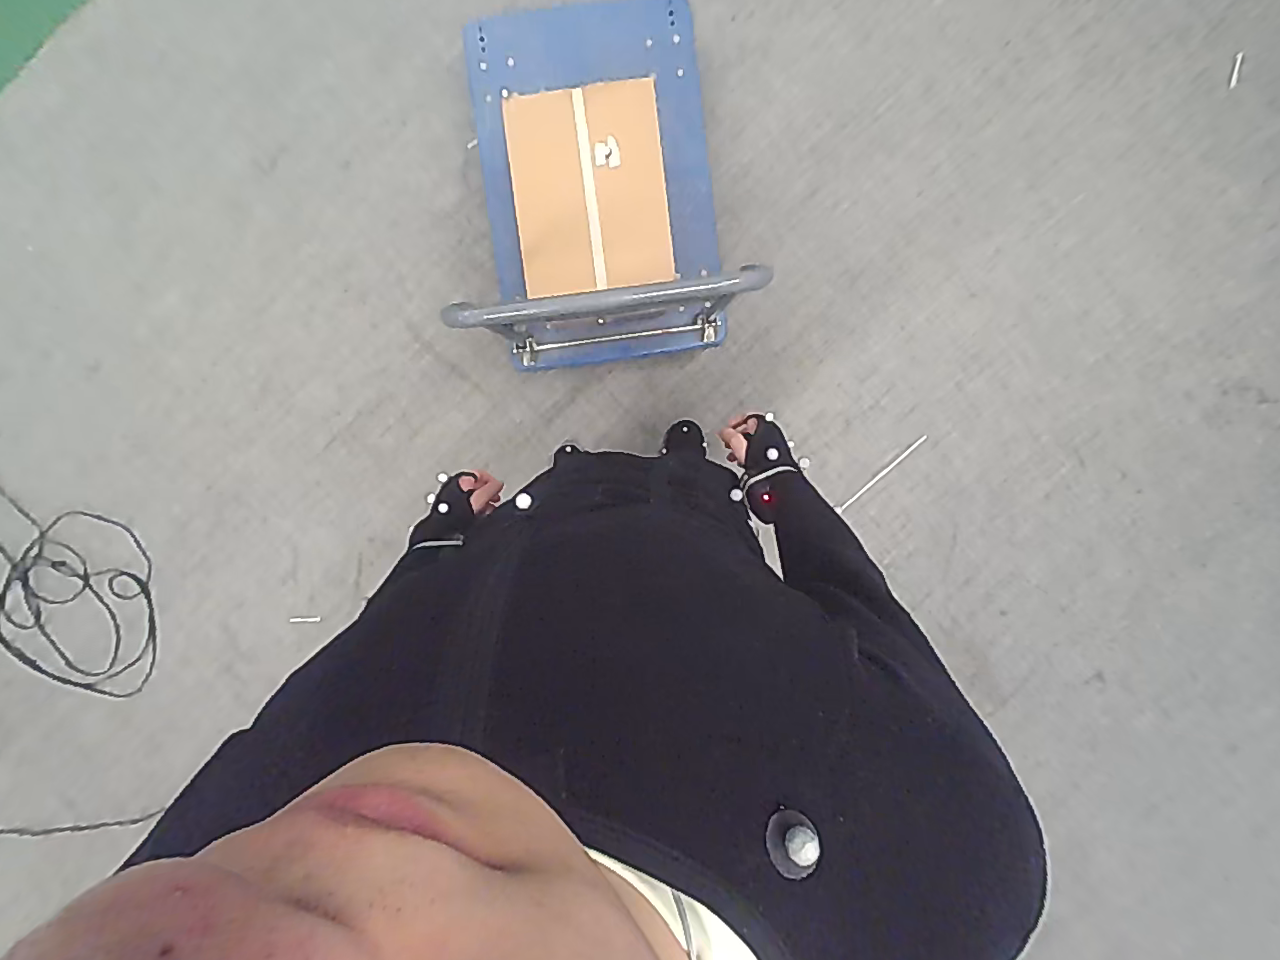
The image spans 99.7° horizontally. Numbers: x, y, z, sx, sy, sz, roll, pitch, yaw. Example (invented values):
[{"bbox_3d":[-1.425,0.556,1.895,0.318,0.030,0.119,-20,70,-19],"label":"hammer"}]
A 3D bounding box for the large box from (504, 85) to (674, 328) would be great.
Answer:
[{"bbox_3d":[-0.101,-0.606,1.271,0.320,0.320,0.408,-6,94,1],"label":"large box"}]
